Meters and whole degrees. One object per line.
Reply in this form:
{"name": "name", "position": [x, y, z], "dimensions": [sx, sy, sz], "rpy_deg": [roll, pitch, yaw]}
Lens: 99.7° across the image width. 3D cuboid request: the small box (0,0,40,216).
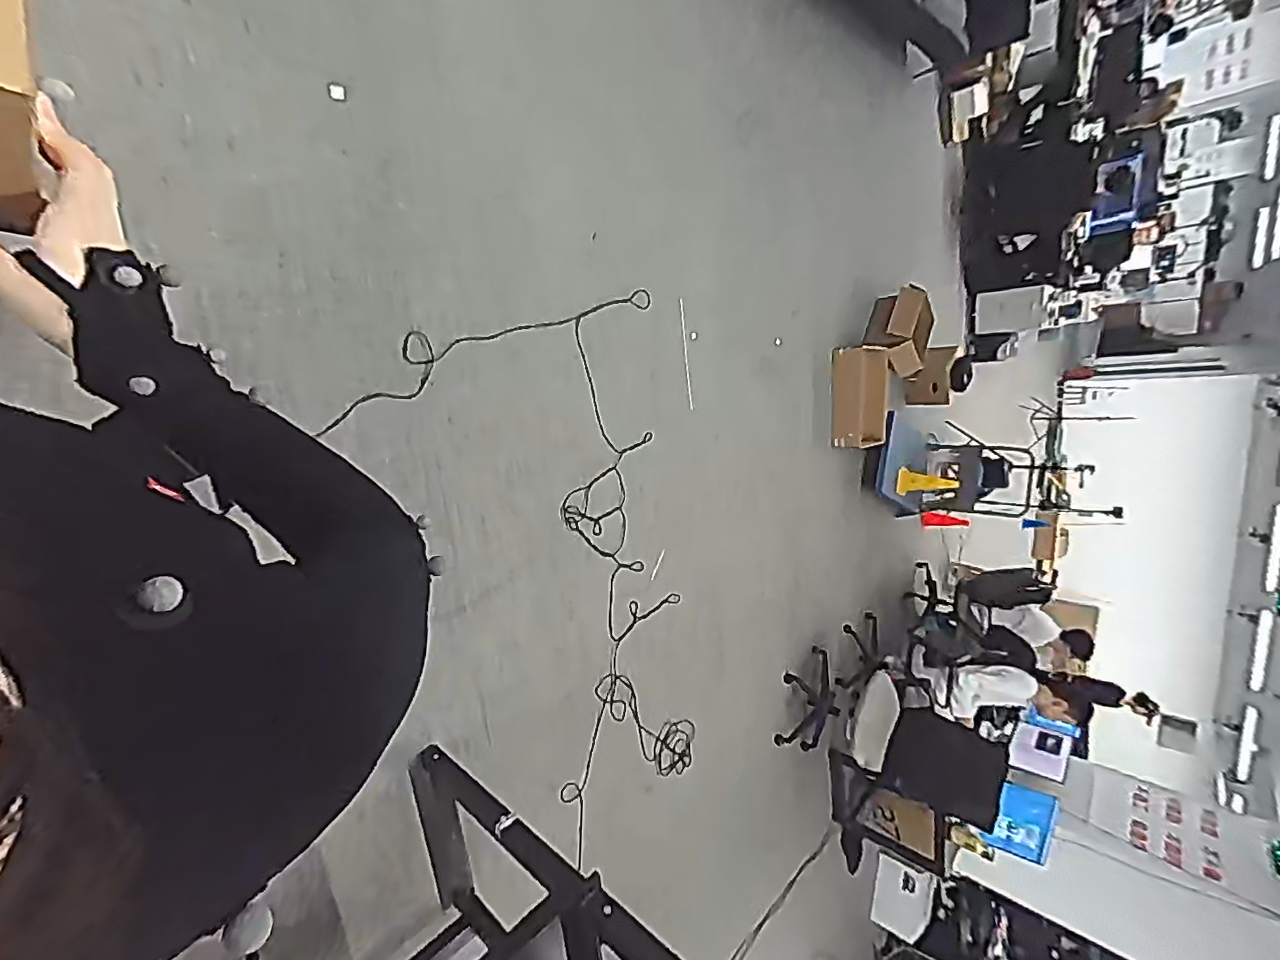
{"name": "small box", "position": [-0.408, -0.250, 0.245], "dimensions": [0.179, 0.176, 0.168], "rpy_deg": [-3, 88, -48]}
